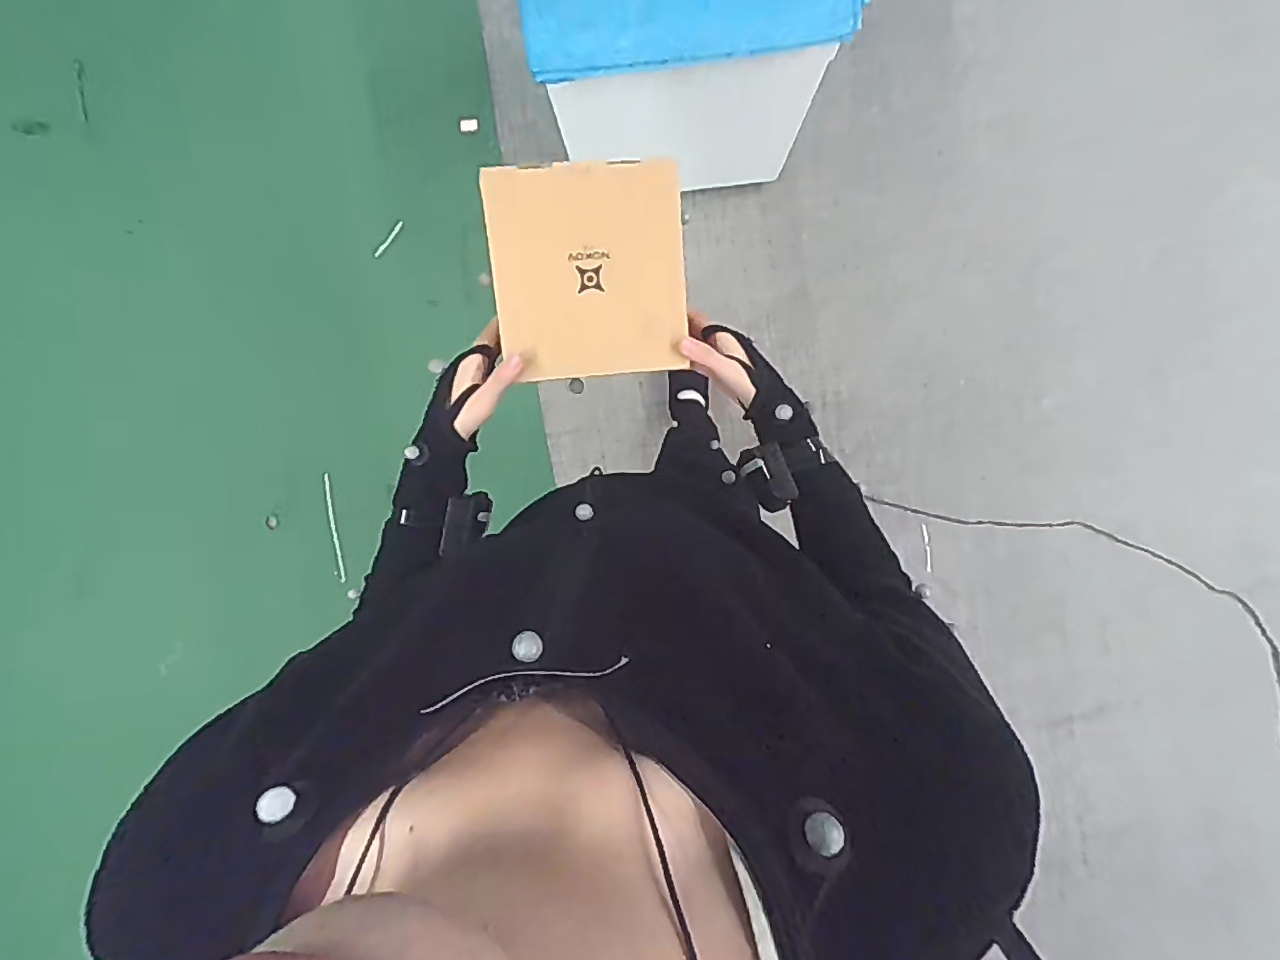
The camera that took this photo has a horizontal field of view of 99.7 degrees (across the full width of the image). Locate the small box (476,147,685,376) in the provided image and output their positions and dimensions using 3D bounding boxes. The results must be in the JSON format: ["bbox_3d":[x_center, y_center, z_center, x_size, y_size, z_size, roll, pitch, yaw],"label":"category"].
[{"bbox_3d":[-0.052,-0.195,0.530,0.168,0.176,0.179,-5,100,-5],"label":"small box"}]
